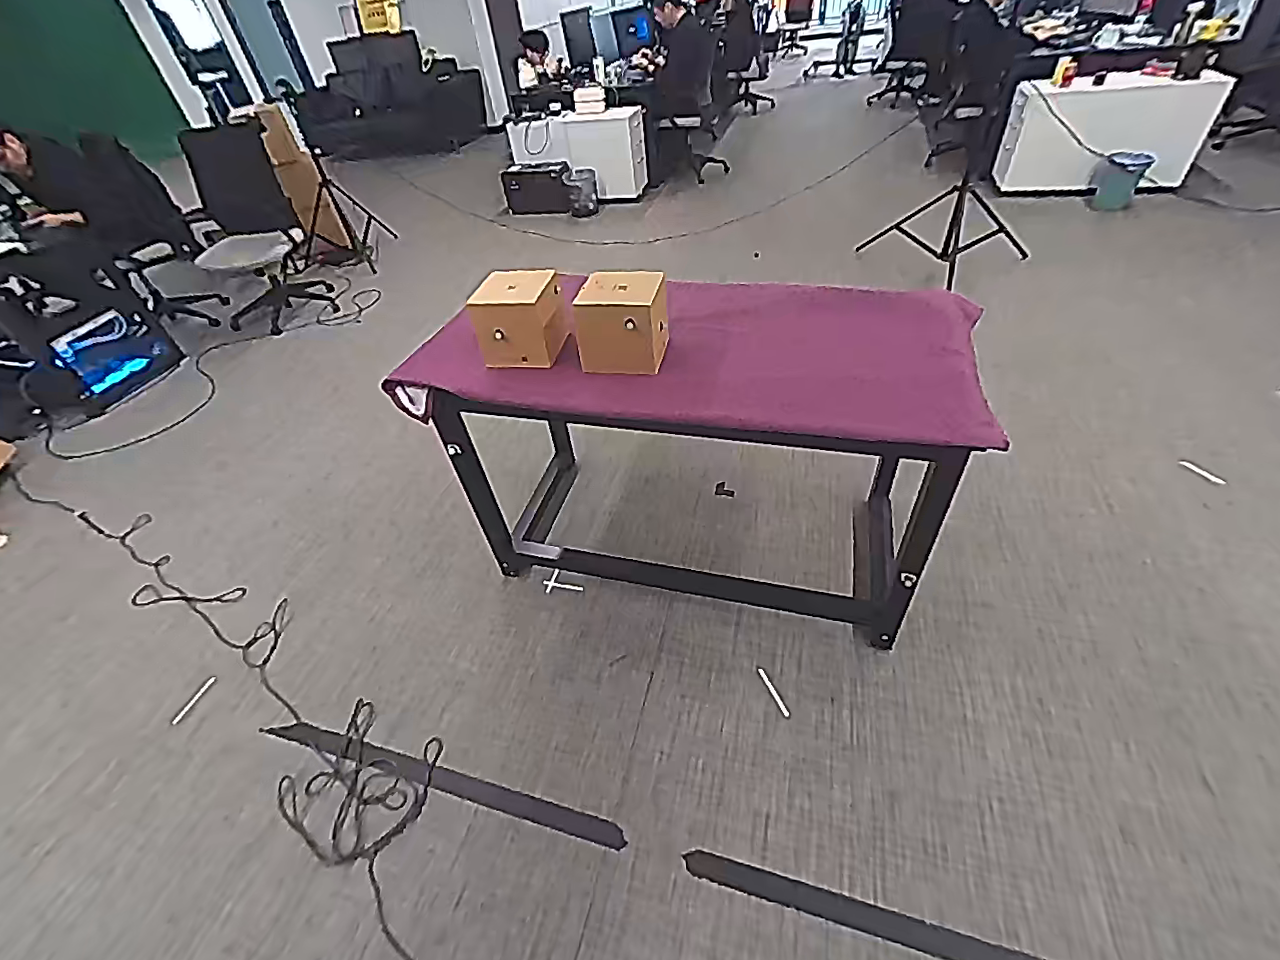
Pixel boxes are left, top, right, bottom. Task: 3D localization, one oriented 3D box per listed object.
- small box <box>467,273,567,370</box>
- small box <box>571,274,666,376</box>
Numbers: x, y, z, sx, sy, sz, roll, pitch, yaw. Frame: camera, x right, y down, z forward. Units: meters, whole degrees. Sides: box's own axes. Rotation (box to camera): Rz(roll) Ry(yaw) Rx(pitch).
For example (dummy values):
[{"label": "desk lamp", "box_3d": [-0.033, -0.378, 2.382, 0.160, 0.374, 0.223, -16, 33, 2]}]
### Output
[{"label": "small box", "box_3d": [-0.285, -0.377, 1.298, 0.168, 0.176, 0.179, 2, 43, 11]}, {"label": "small box", "box_3d": [-0.039, -0.351, 1.230, 0.179, 0.176, 0.168, 4, 43, 12]}]
